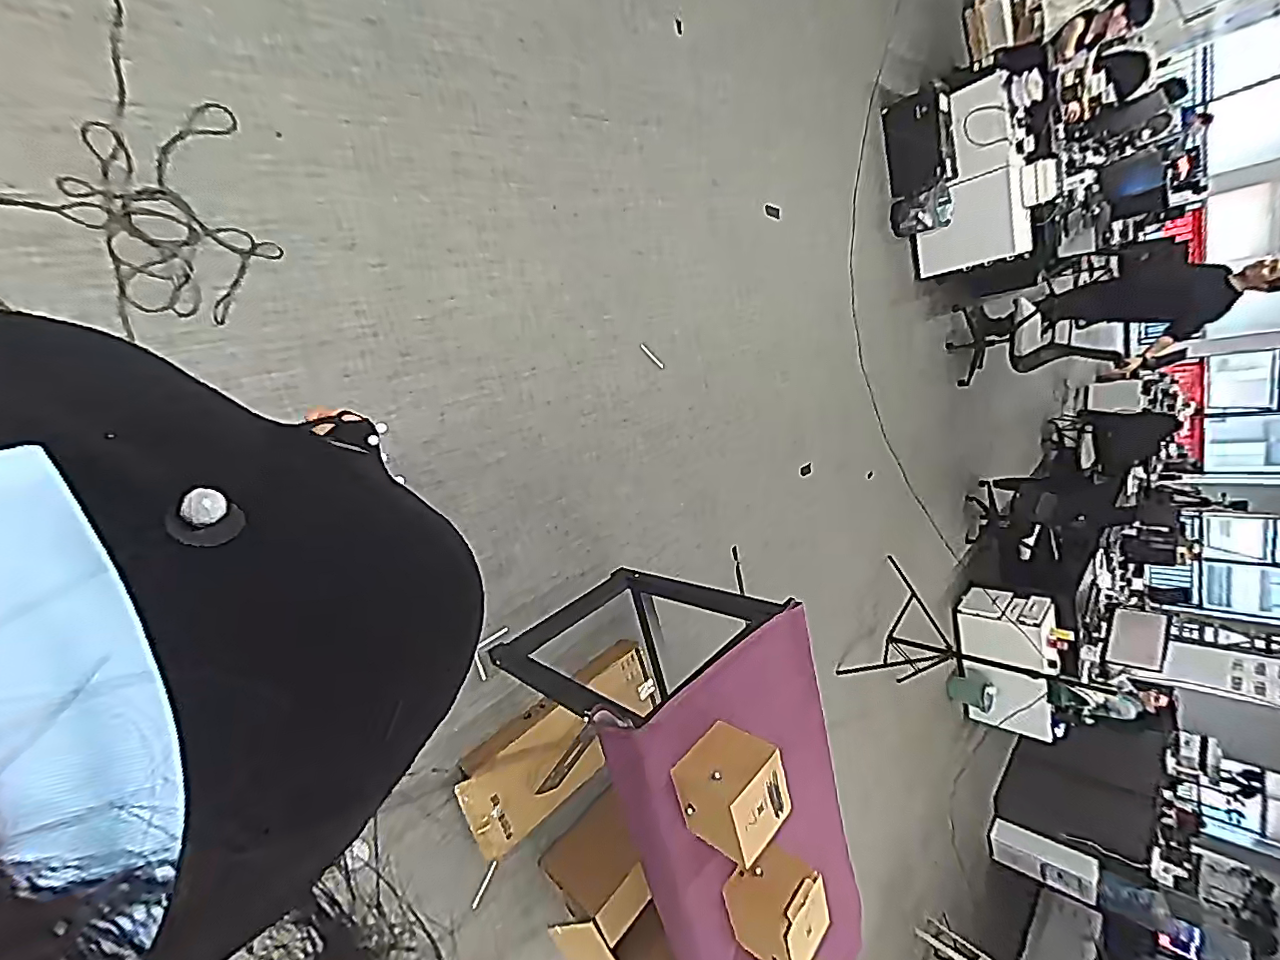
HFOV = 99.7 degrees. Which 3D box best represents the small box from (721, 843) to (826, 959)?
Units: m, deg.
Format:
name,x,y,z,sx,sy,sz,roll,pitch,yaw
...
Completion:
name,x,y,z,sx,sy,sz,roll,pitch,yaw
small box,0.318,1.028,1.295,0.168,0.176,0.179,-28,110,-41
